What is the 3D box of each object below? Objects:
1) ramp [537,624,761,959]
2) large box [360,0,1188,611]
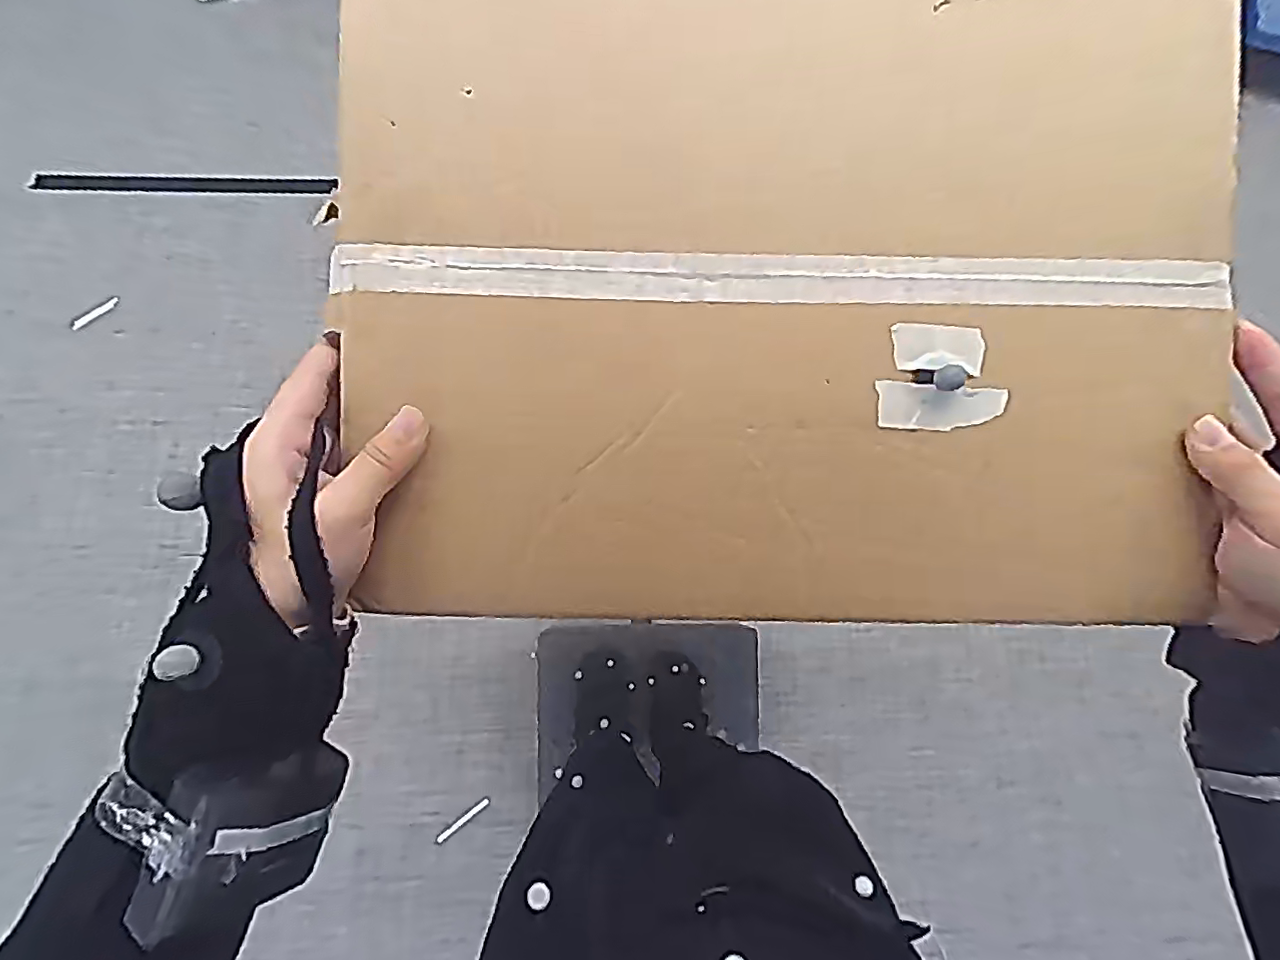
[{"bbox_3d":[0.023,0.826,1.185,0.509,0.206,0.991,-2,78,-4],"label":"ramp"},{"bbox_3d":[0.060,-0.093,0.411,0.408,0.320,0.320,1,92,-1],"label":"large box"}]
